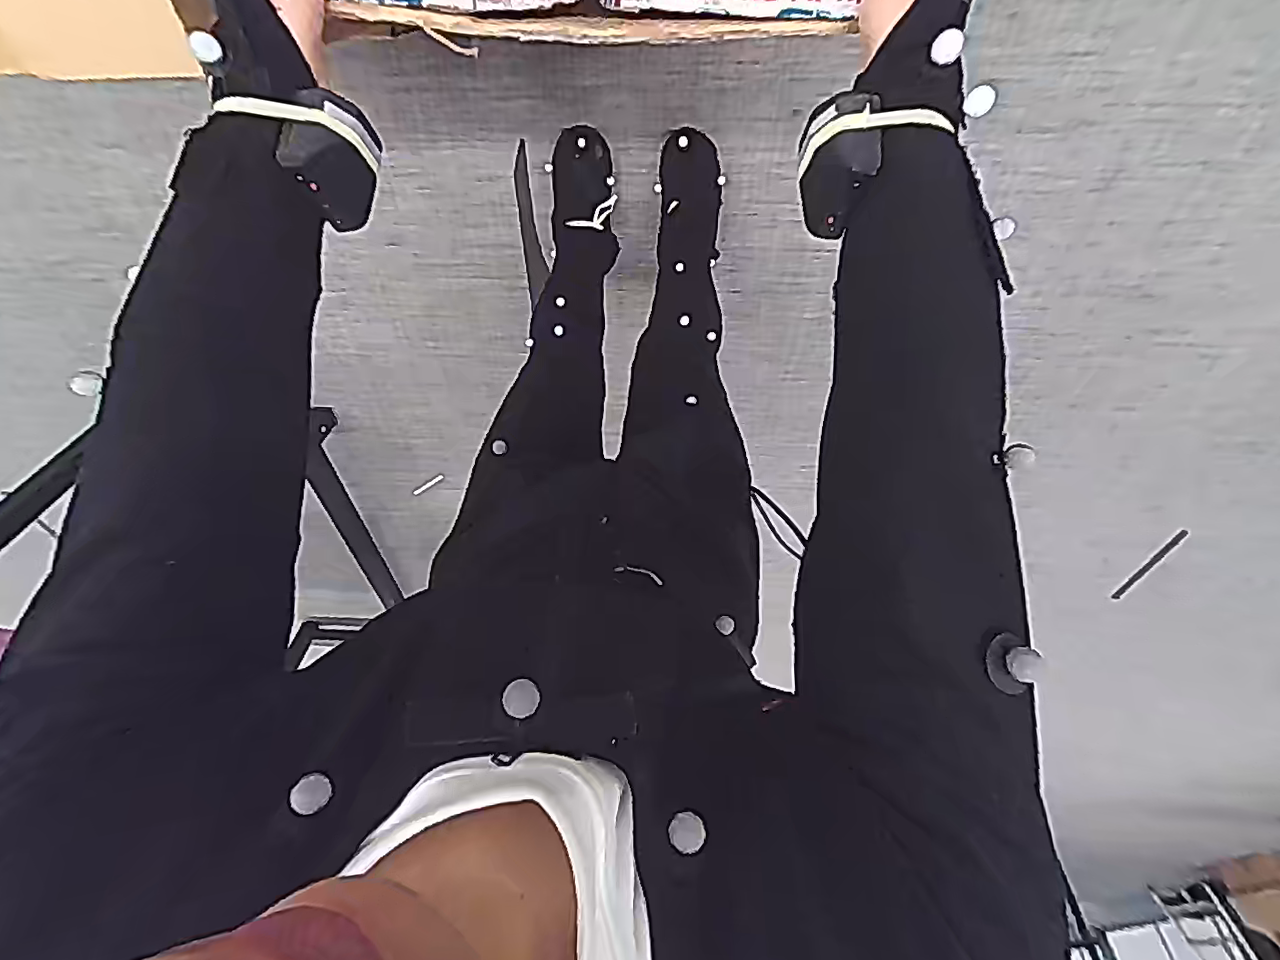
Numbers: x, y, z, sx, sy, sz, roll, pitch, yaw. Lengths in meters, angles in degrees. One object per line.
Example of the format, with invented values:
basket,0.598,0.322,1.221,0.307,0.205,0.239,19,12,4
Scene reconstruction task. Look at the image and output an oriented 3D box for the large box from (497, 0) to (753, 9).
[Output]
large box,-0.013,-0.781,0.570,0.320,0.320,0.408,1,135,3
